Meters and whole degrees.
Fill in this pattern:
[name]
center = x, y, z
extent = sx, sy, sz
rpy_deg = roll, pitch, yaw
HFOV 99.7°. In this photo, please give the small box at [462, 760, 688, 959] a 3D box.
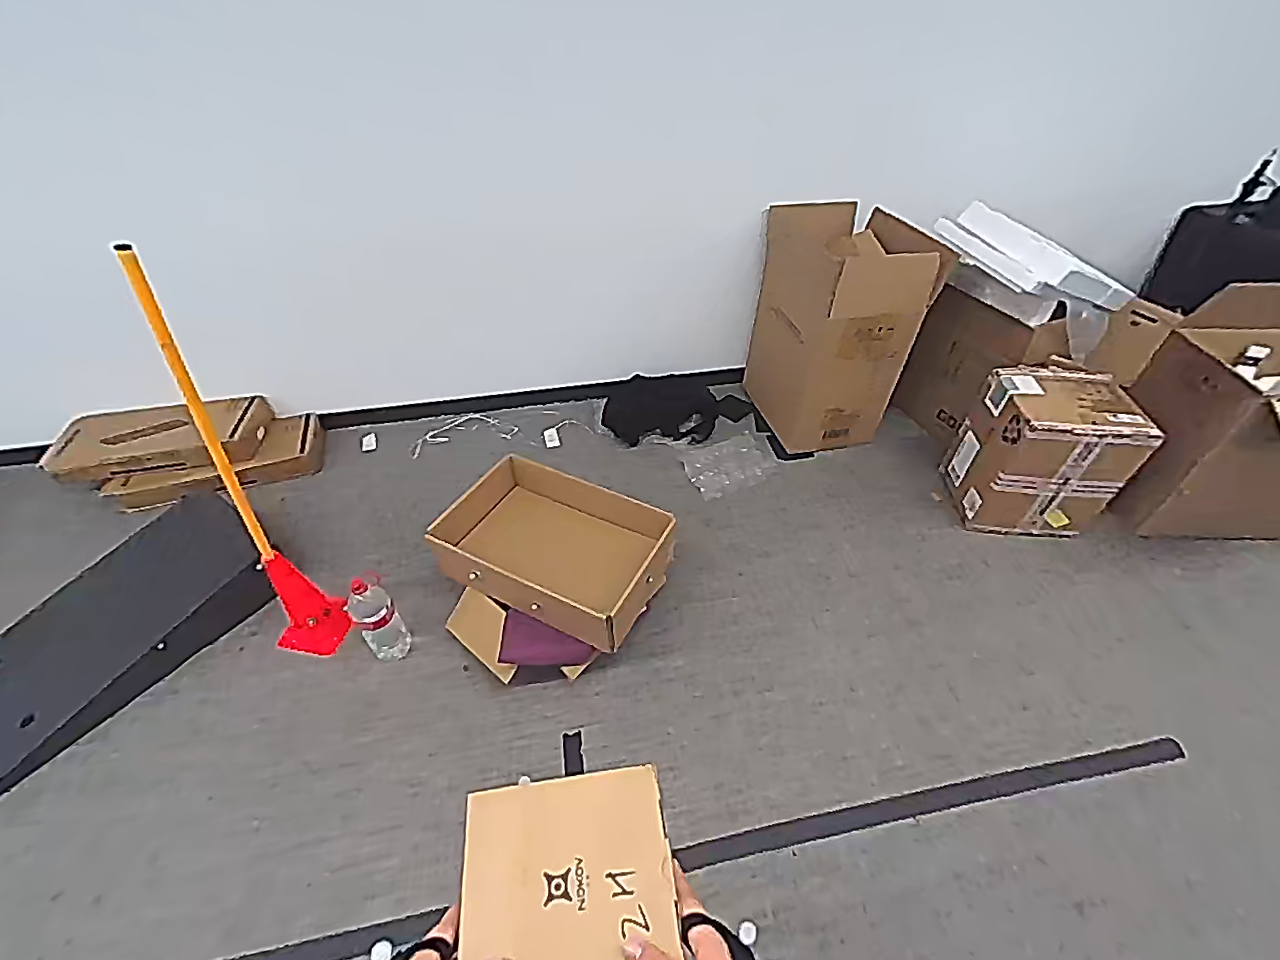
[small box]
center = -0.057, 0.387, 0.506
extent = 0.179, 0.176, 0.168
rpy_deg = -6, 47, -6
